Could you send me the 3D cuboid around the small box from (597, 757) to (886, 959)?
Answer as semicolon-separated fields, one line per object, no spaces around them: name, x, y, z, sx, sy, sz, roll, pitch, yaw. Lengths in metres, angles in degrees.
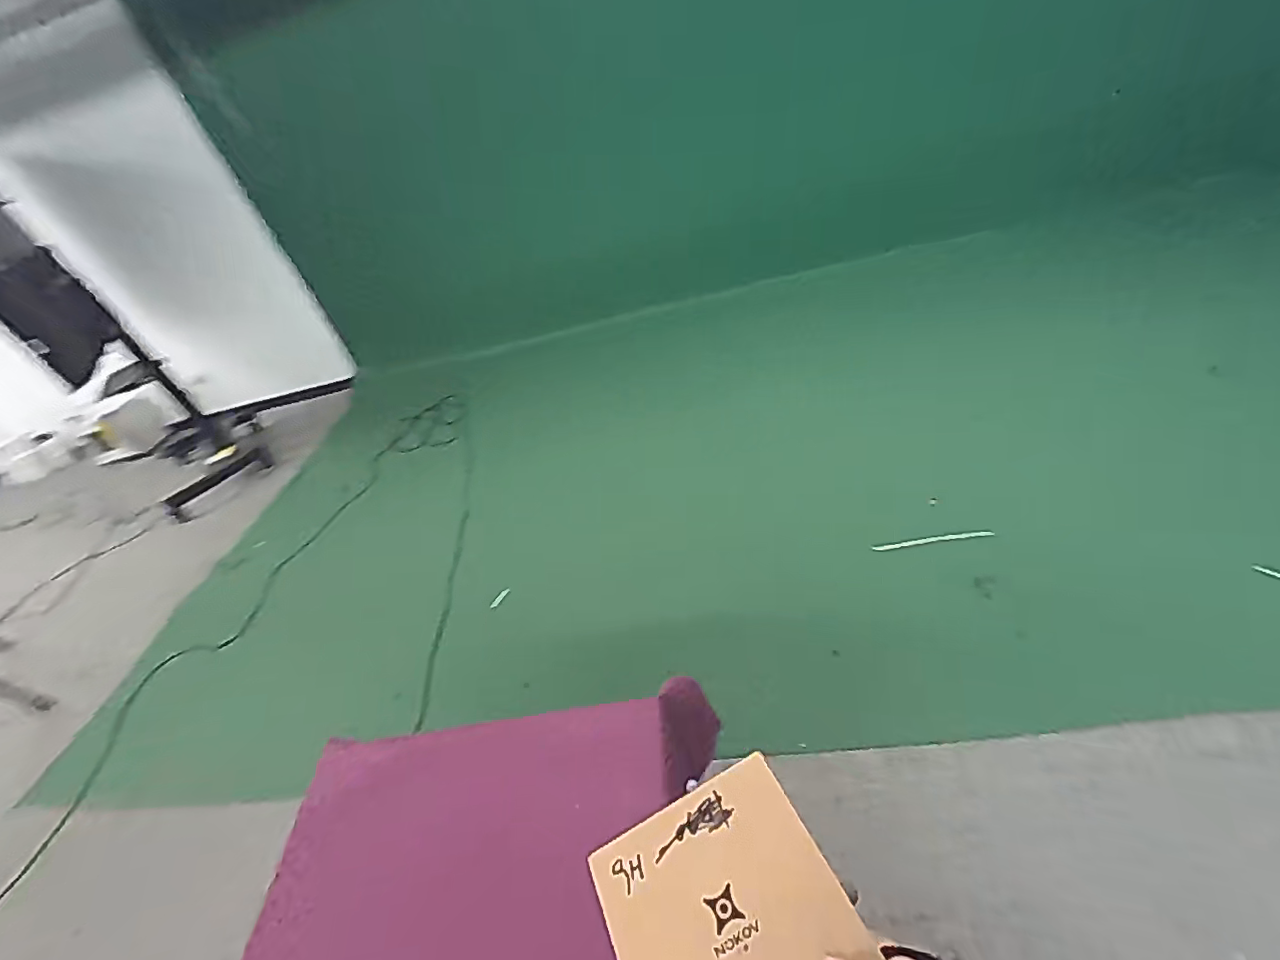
small box;0.090;0.369;0.440;0.168;0.176;0.179;-27;44;-6
